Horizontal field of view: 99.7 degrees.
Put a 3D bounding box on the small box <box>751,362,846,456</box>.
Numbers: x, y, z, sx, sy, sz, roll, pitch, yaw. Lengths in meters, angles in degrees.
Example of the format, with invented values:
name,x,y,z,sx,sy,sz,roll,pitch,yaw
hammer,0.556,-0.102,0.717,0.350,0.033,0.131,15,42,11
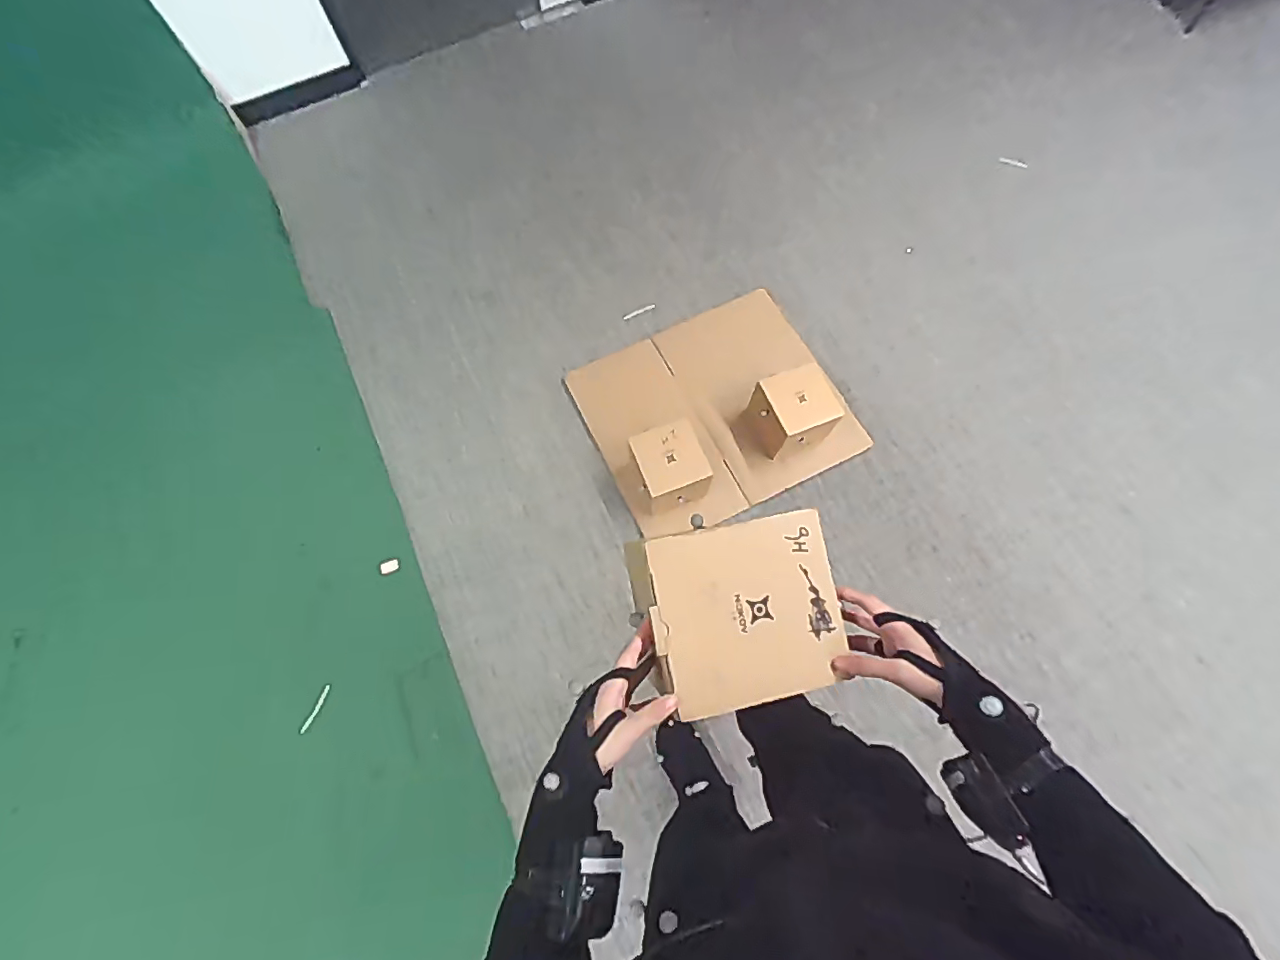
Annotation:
name,x,y,z,sx,sy,sz,roll,pitch,yaw
small box,0.417,-0.181,1.455,0.168,0.176,0.179,-21,71,-7

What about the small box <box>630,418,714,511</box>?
name,x,y,z,sx,sy,sz,roll,pitch,yaw
small box,0.081,-0.031,1.410,0.168,0.176,0.179,-20,71,-6
